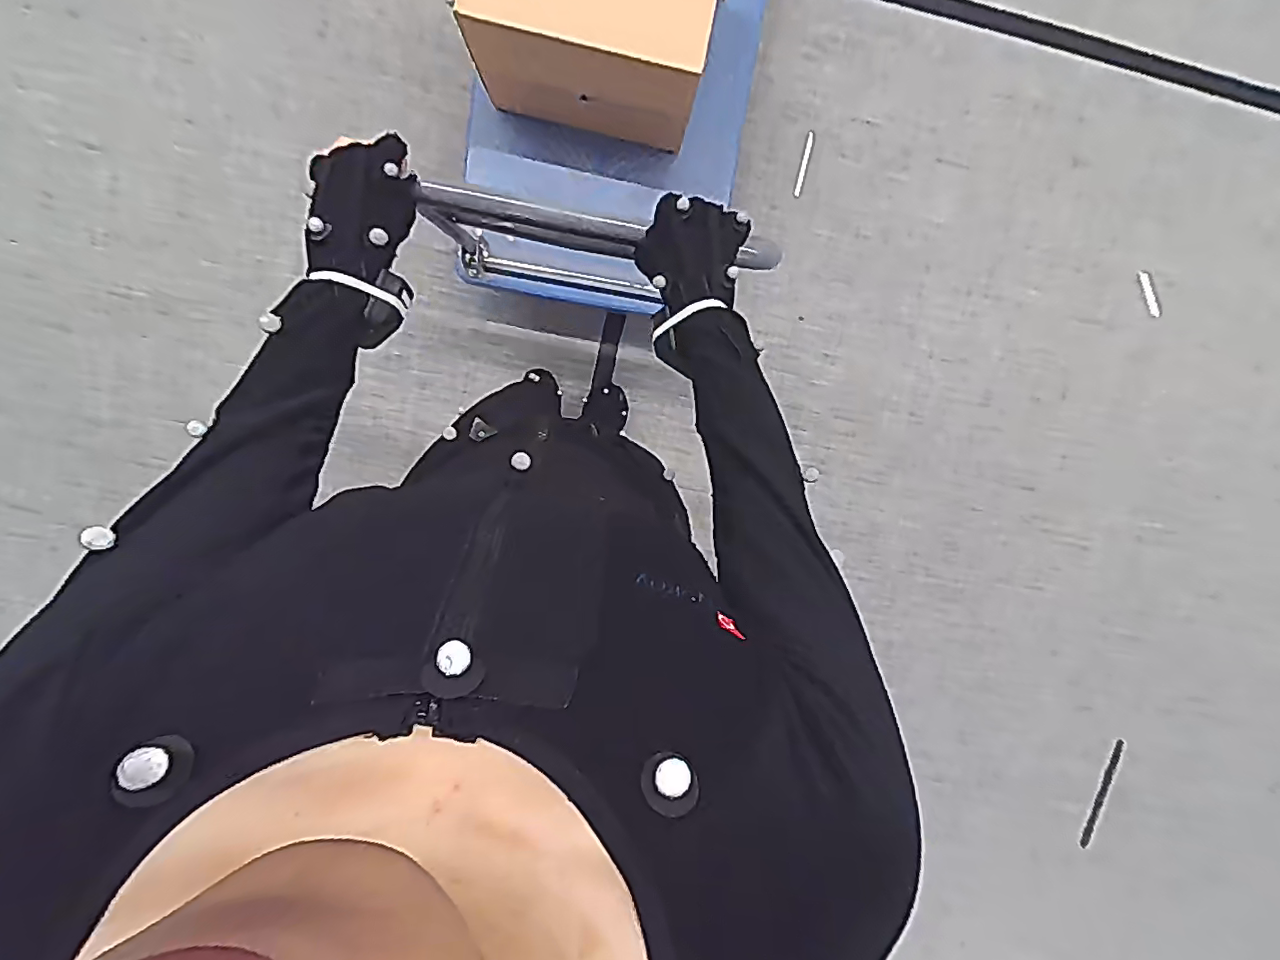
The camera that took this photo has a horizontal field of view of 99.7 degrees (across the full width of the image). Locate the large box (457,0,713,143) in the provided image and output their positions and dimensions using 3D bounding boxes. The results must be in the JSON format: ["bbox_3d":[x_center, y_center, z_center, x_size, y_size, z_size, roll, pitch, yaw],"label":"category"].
[{"bbox_3d":[-0.074,-0.878,0.990,0.408,0.320,0.320,11,100,-4],"label":"large box"}]
